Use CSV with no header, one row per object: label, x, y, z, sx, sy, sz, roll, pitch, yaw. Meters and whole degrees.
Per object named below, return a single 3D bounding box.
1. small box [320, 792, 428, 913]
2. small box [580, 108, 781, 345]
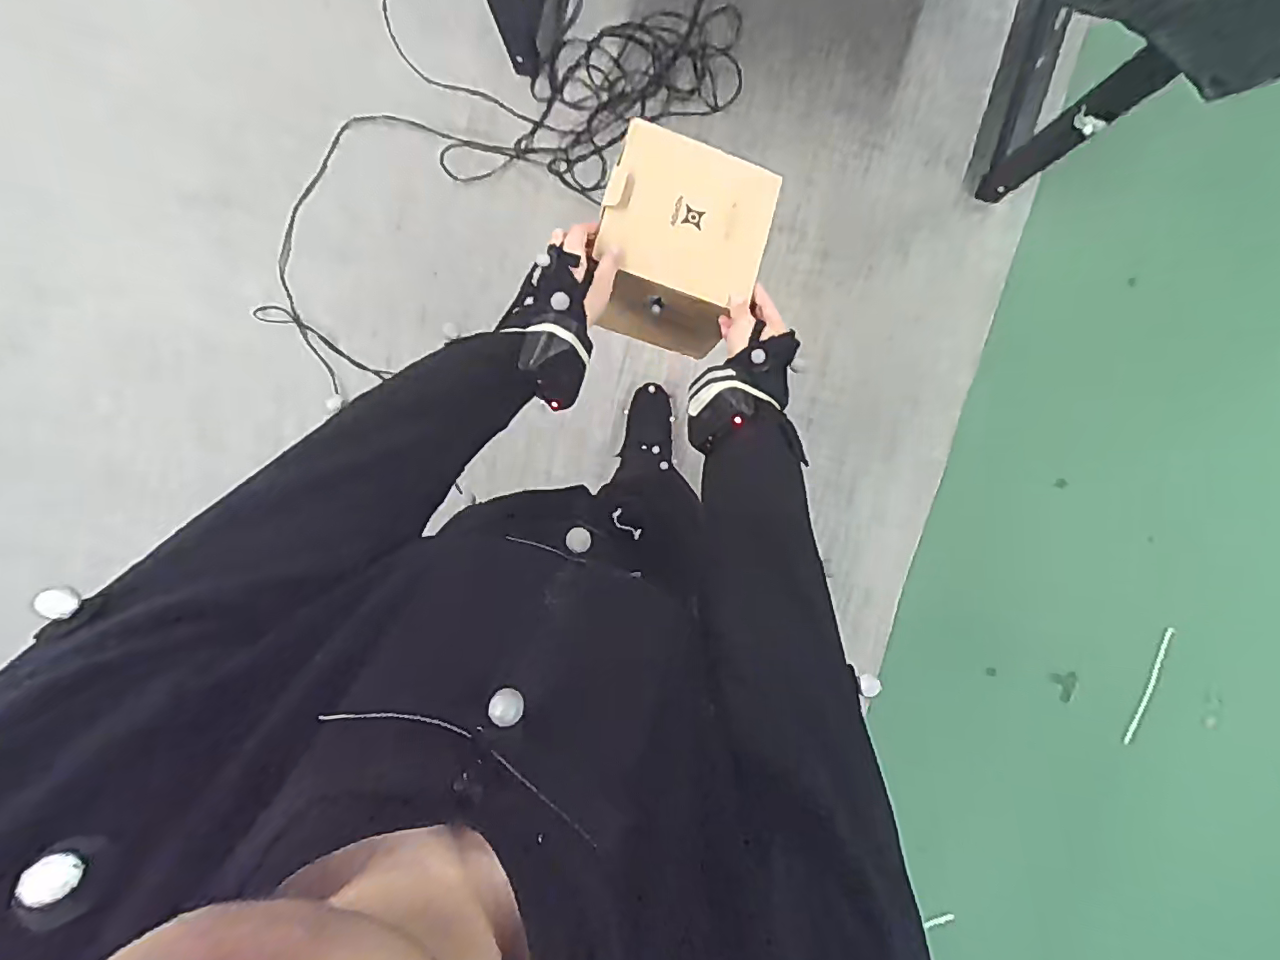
small box,-0.658,0.925,1.358,0.179,0.176,0.168,15,96,1
small box,0.035,-0.277,0.636,0.179,0.176,0.168,16,84,-10
